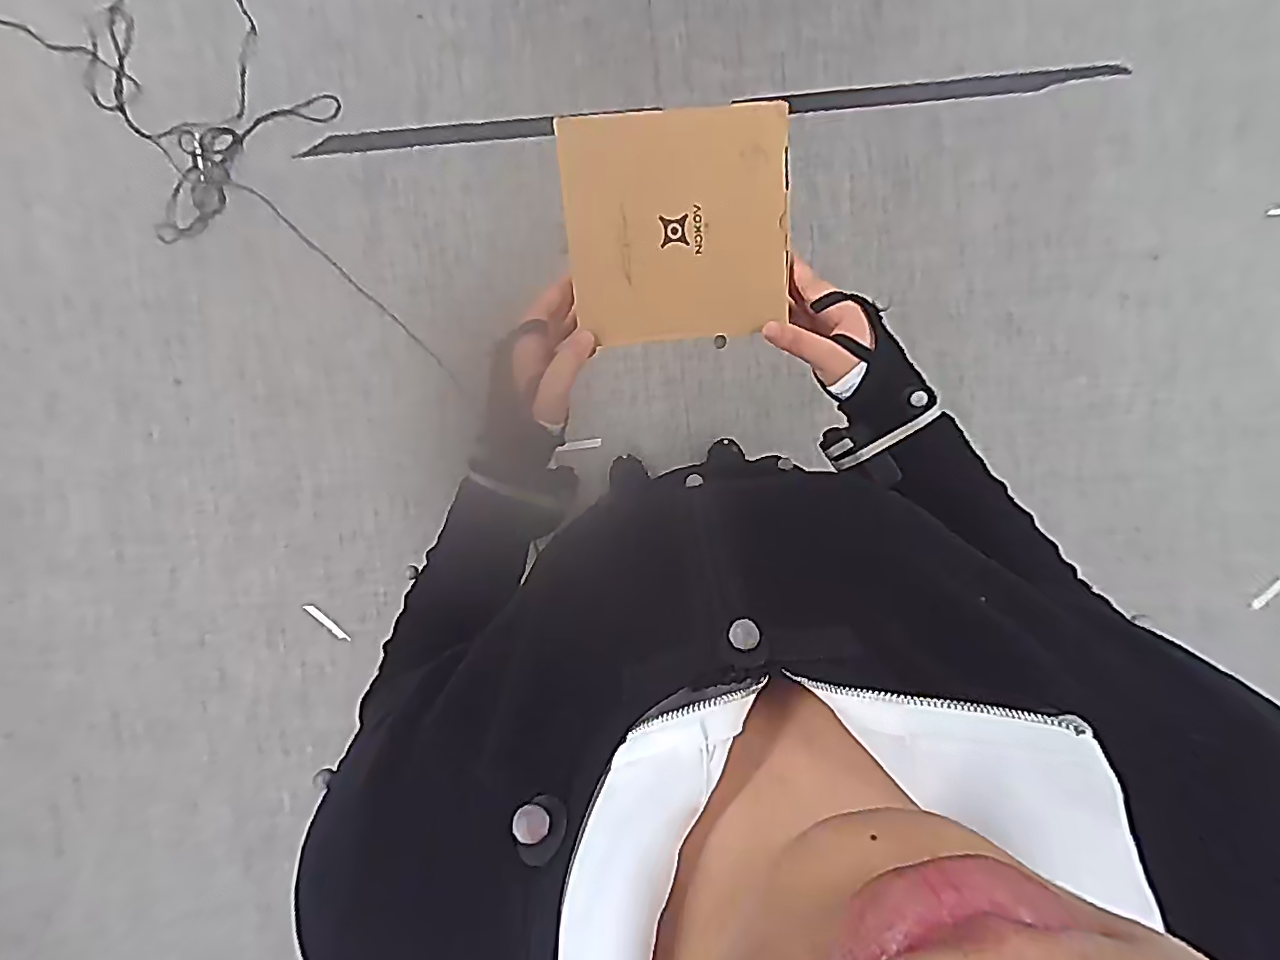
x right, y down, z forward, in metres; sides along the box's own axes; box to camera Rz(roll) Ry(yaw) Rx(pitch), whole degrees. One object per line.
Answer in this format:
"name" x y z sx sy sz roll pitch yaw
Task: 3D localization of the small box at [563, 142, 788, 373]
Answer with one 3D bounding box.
"small box" 0.029 -0.200 0.517 0.179 0.176 0.168 -7 106 0
